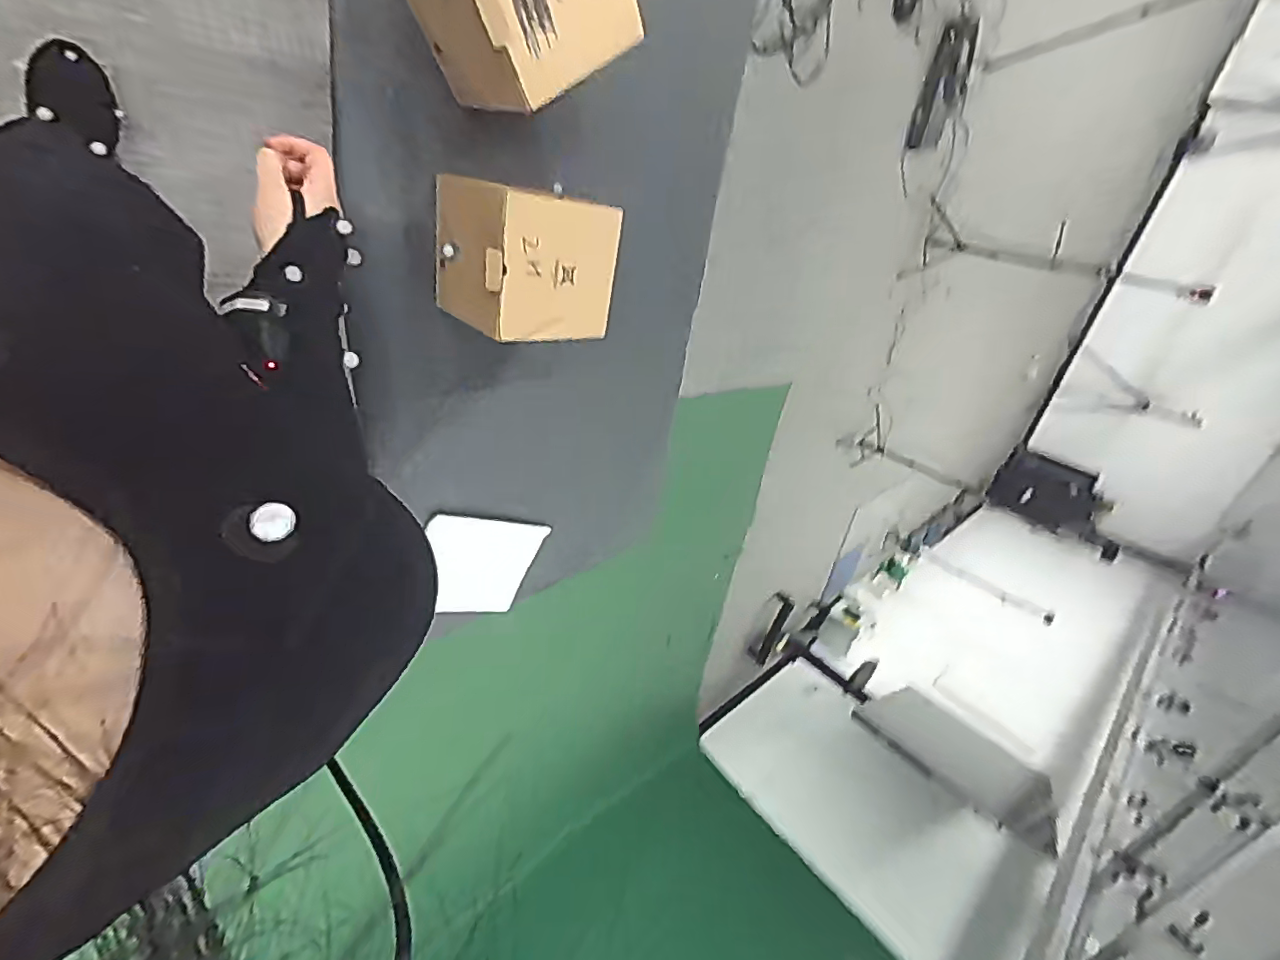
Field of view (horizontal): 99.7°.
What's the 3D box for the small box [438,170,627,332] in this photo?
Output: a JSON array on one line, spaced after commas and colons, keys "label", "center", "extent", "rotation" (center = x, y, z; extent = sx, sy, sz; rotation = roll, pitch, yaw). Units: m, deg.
[{"label": "small box", "center": [-0.146, -0.301, 0.717], "extent": [0.179, 0.176, 0.168], "rotation": [-15, 127, -41]}]
